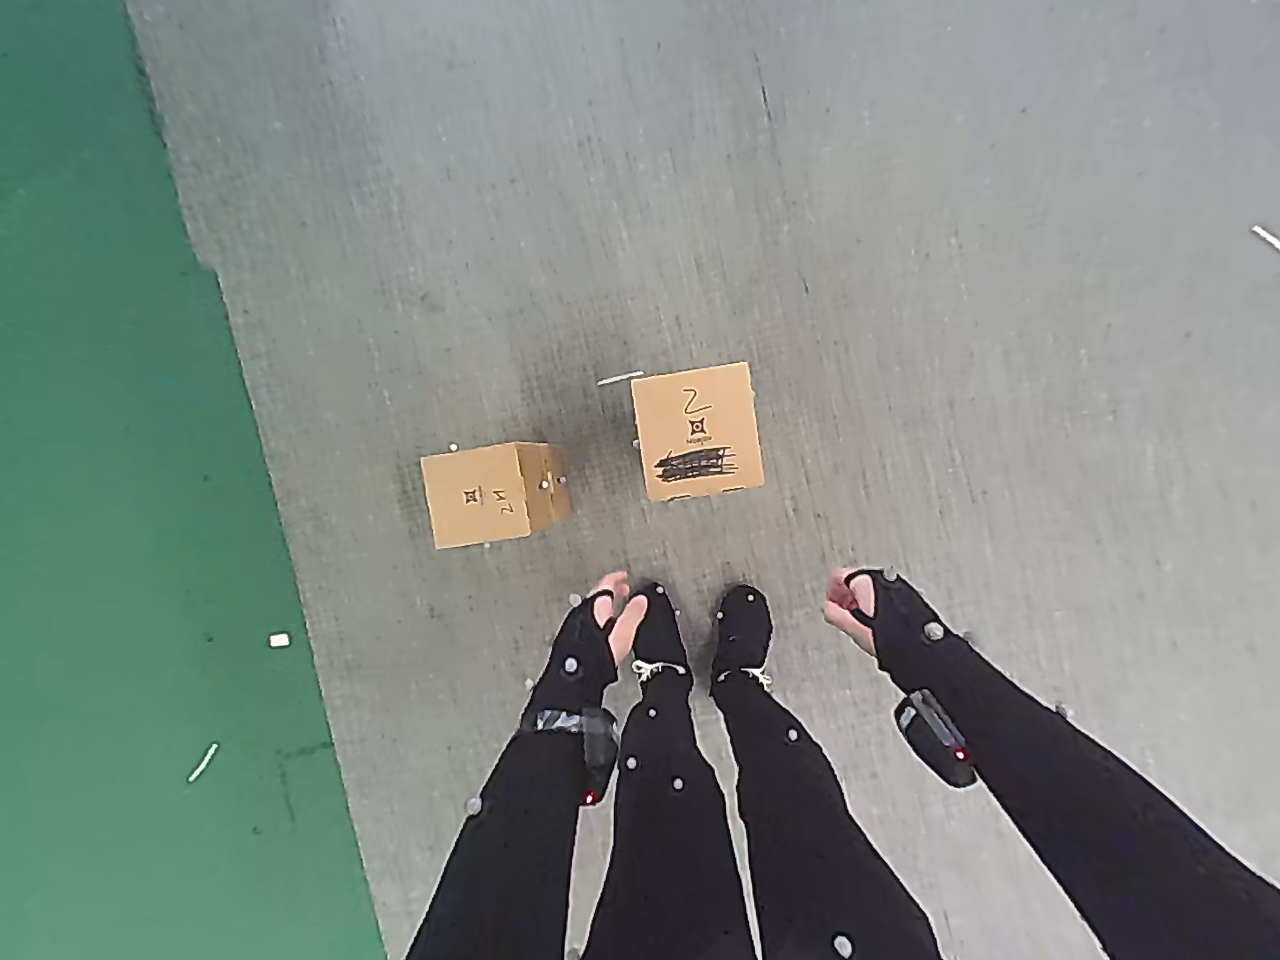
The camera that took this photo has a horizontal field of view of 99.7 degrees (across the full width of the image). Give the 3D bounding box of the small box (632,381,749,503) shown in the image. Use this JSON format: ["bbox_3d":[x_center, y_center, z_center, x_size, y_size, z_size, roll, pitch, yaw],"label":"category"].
[{"bbox_3d":[0.092,-0.067,0.989,0.168,0.176,0.179,-16,91,4],"label":"small box"}]

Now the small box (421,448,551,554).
[{"bbox_3d":[-0.280,0.036,1.013,0.179,0.176,0.168,-9,92,3],"label":"small box"}]

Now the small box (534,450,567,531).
[{"bbox_3d":[-0.262,0.029,1.178,0.179,0.176,0.168,-10,91,3],"label":"small box"}]
